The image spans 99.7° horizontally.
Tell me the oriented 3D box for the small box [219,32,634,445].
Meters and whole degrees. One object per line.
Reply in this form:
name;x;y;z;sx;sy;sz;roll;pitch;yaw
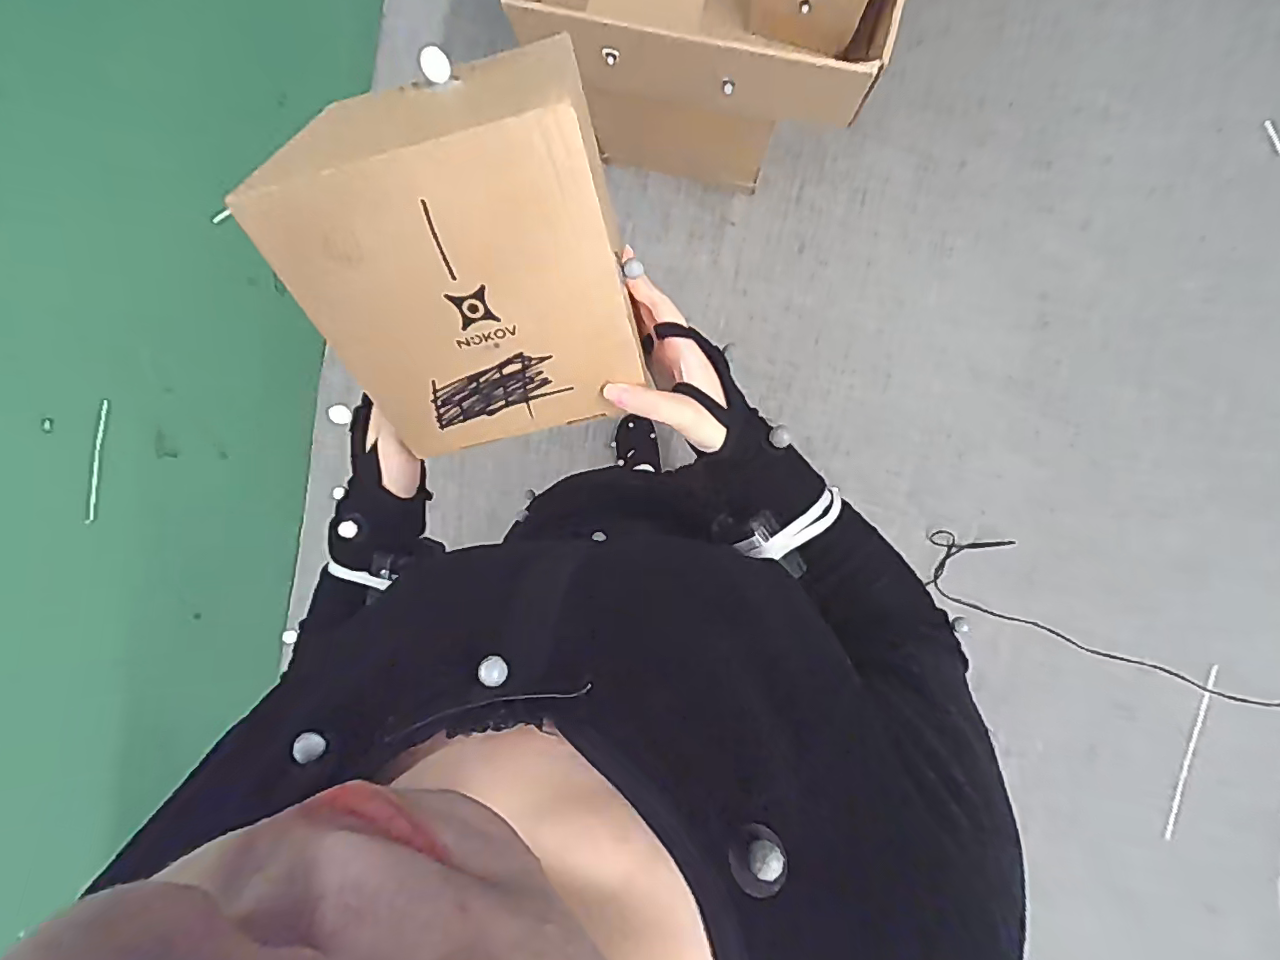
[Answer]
small box;-0.104;-0.154;0.354;0.168;0.176;0.179;-12;136;5
